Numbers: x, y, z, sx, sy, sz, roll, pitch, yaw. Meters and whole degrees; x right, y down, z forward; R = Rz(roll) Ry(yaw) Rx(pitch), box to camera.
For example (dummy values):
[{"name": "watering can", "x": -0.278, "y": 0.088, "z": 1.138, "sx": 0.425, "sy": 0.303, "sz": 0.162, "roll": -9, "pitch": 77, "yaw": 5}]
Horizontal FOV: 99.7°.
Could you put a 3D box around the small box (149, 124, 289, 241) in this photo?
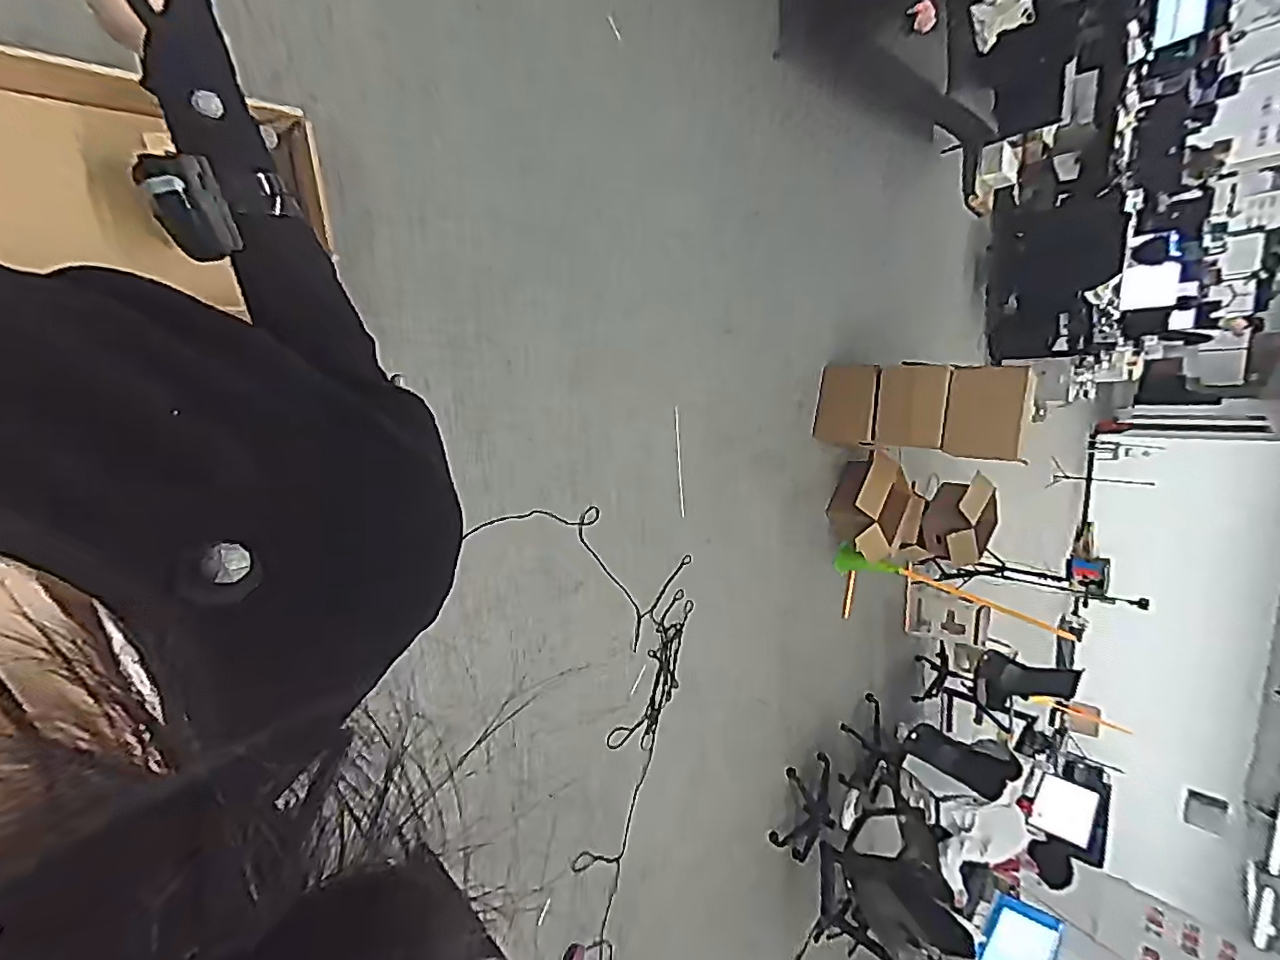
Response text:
[{"name": "small box", "x": -0.838, "y": -0.581, "z": 1.078, "sx": 0.179, "sy": 0.176, "sz": 0.168, "roll": -23, "pitch": 112, "yaw": -39}]
